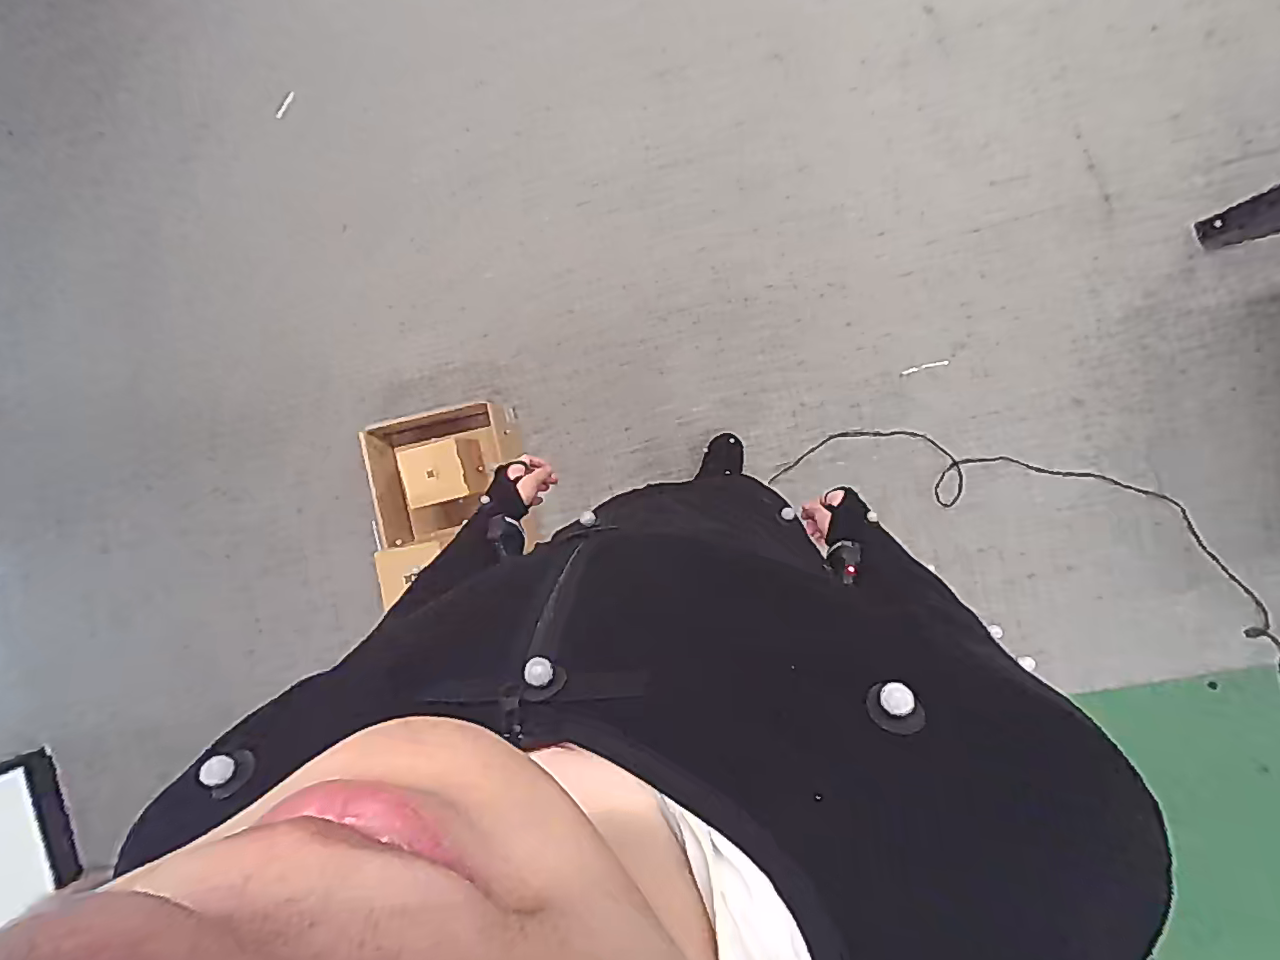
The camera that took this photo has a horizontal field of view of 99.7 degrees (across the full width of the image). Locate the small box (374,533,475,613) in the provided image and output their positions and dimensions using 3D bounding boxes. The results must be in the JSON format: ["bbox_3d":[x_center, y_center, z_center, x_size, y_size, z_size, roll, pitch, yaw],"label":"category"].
[{"bbox_3d":[-0.557,0.237,1.414,0.179,0.176,0.168,-10,91,7],"label":"small box"}]
